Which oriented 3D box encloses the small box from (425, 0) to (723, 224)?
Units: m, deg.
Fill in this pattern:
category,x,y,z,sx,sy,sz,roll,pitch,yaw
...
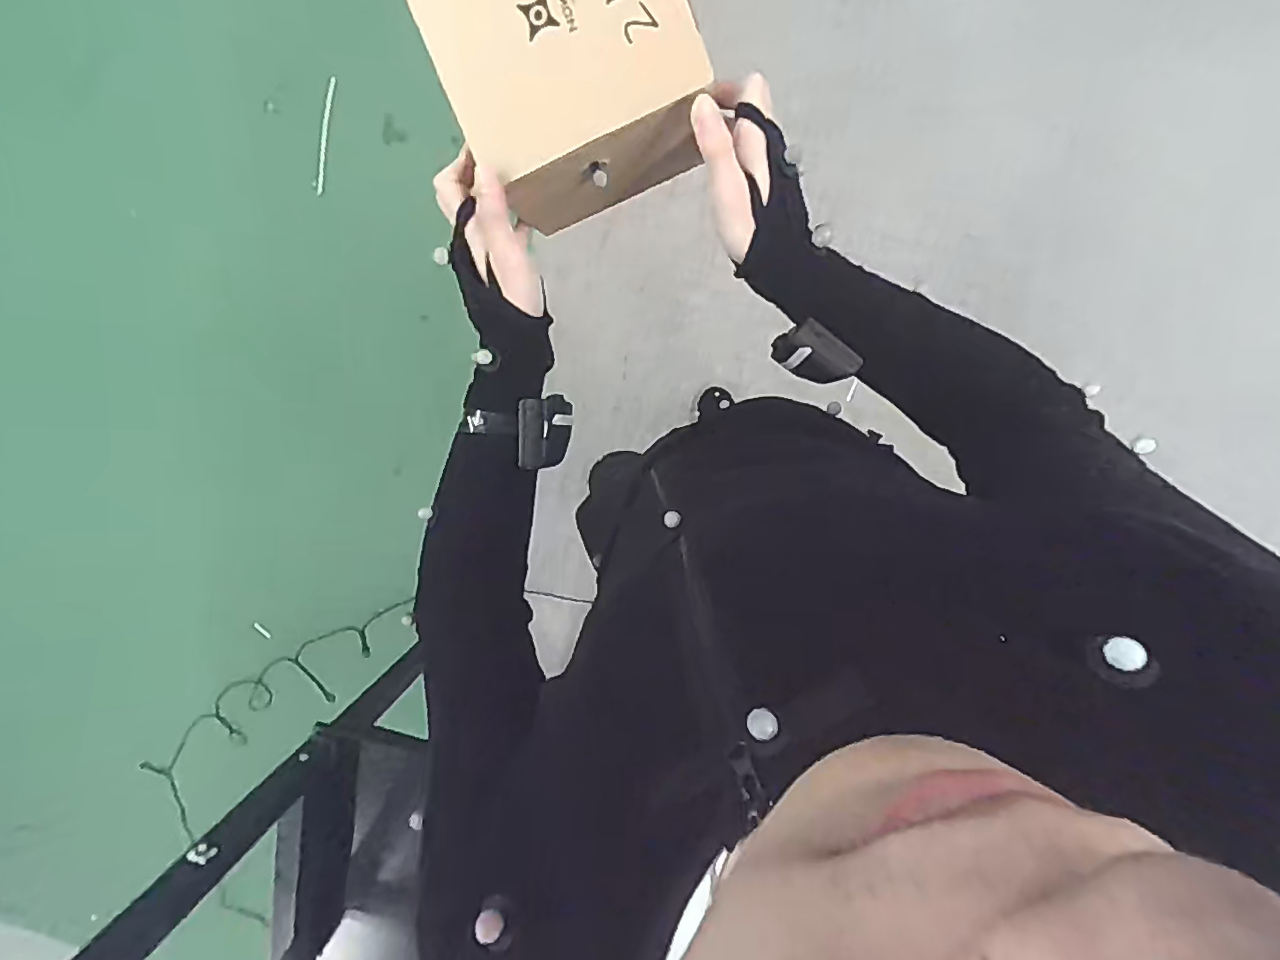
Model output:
category,x,y,z,sx,sy,sz,roll,pitch,yaw
small box,-0.042,-0.332,0.434,0.179,0.176,0.168,-19,102,10
